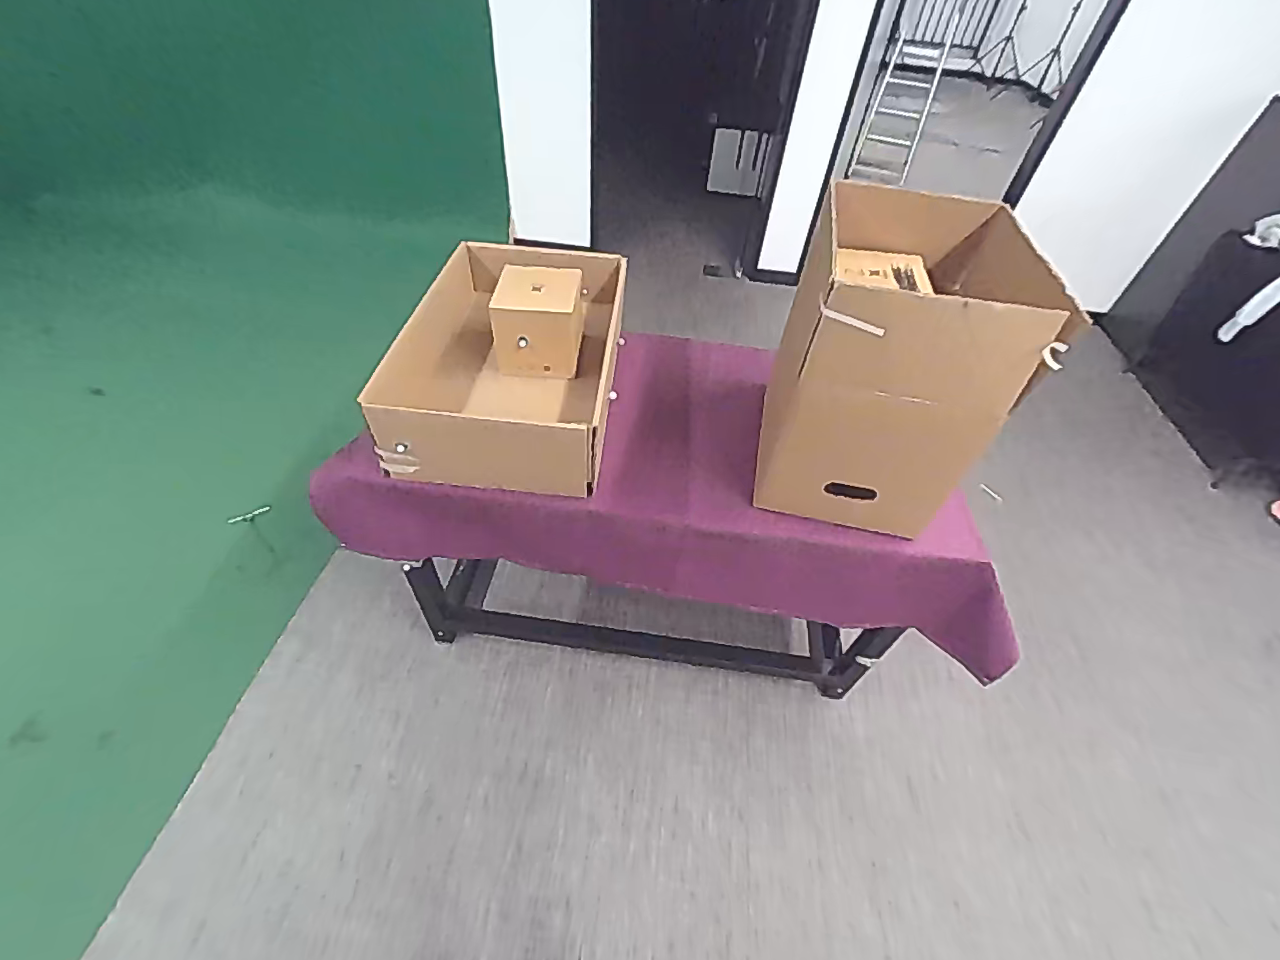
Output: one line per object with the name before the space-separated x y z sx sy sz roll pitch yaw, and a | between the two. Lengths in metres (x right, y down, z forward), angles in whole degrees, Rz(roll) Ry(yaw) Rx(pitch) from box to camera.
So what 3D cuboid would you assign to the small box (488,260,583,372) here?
small box | -0.215 -0.351 1.165 0.168 0.176 0.179 3 49 -1
